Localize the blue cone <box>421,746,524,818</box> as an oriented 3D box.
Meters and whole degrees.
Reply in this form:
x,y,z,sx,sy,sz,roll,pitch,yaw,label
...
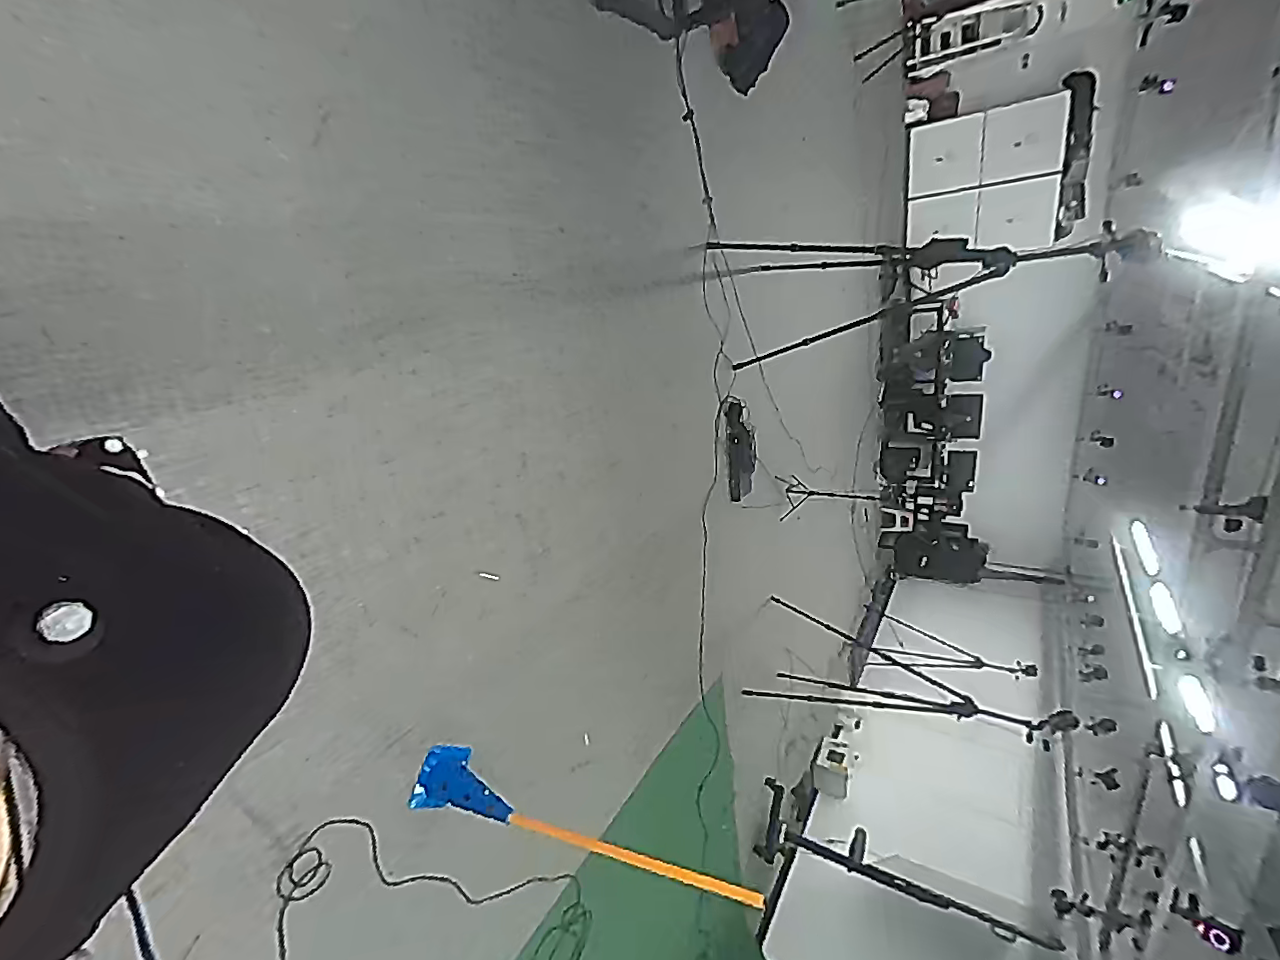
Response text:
x,y,z,sx,sy,sz,roll,pitch,yaw,label
-0.538,1.044,1.807,0.192,0.380,0.193,38,61,-50,blue cone
